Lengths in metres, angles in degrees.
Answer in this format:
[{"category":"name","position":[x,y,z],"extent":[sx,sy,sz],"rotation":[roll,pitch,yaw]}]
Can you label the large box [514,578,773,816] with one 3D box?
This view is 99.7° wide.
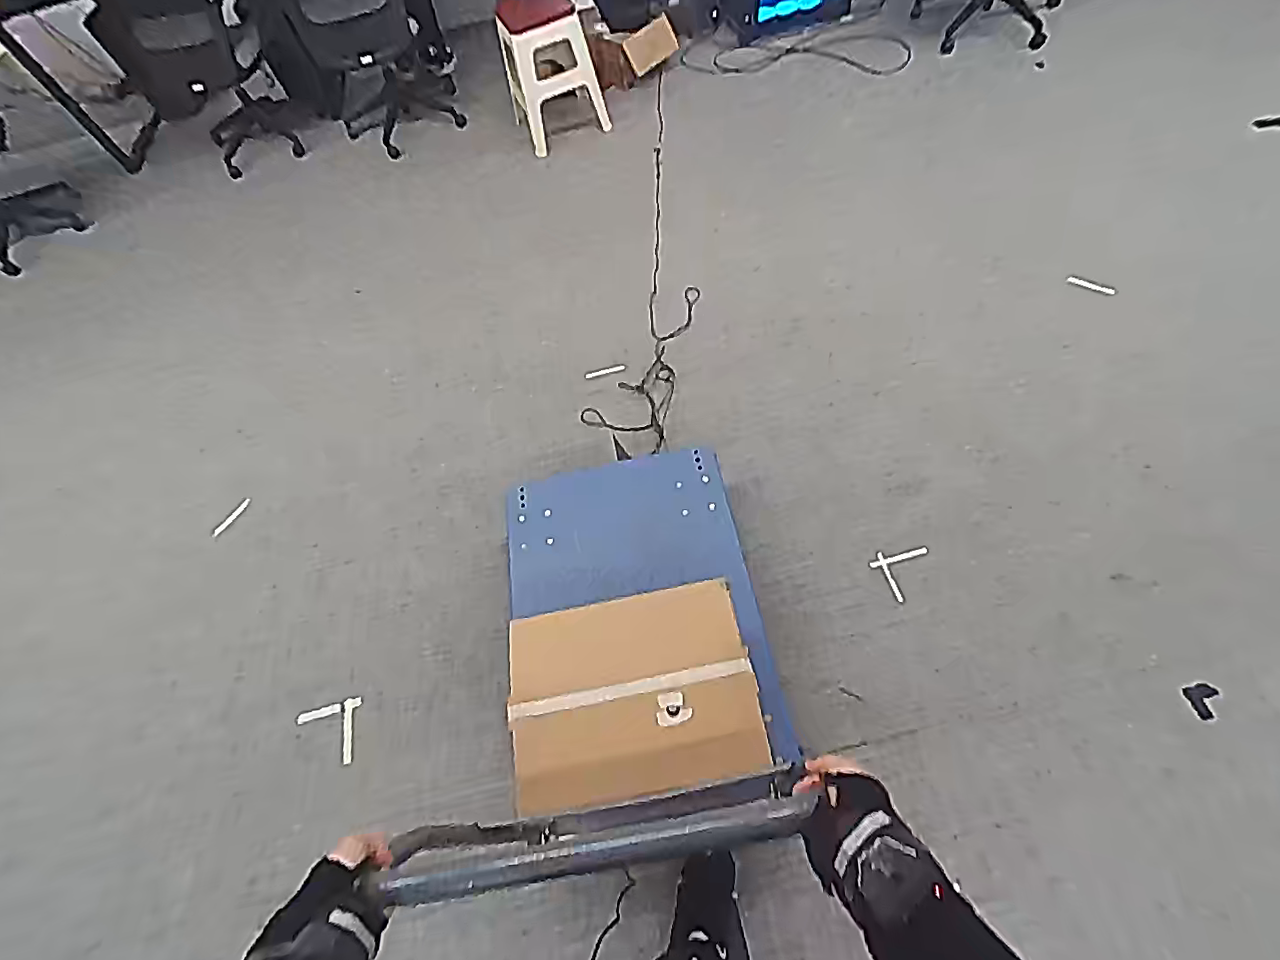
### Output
[{"category":"large box","position":[0.005,0.424,1.039],"extent":[0.408,0.320,0.320],"rotation":[-12,60,1]}]
